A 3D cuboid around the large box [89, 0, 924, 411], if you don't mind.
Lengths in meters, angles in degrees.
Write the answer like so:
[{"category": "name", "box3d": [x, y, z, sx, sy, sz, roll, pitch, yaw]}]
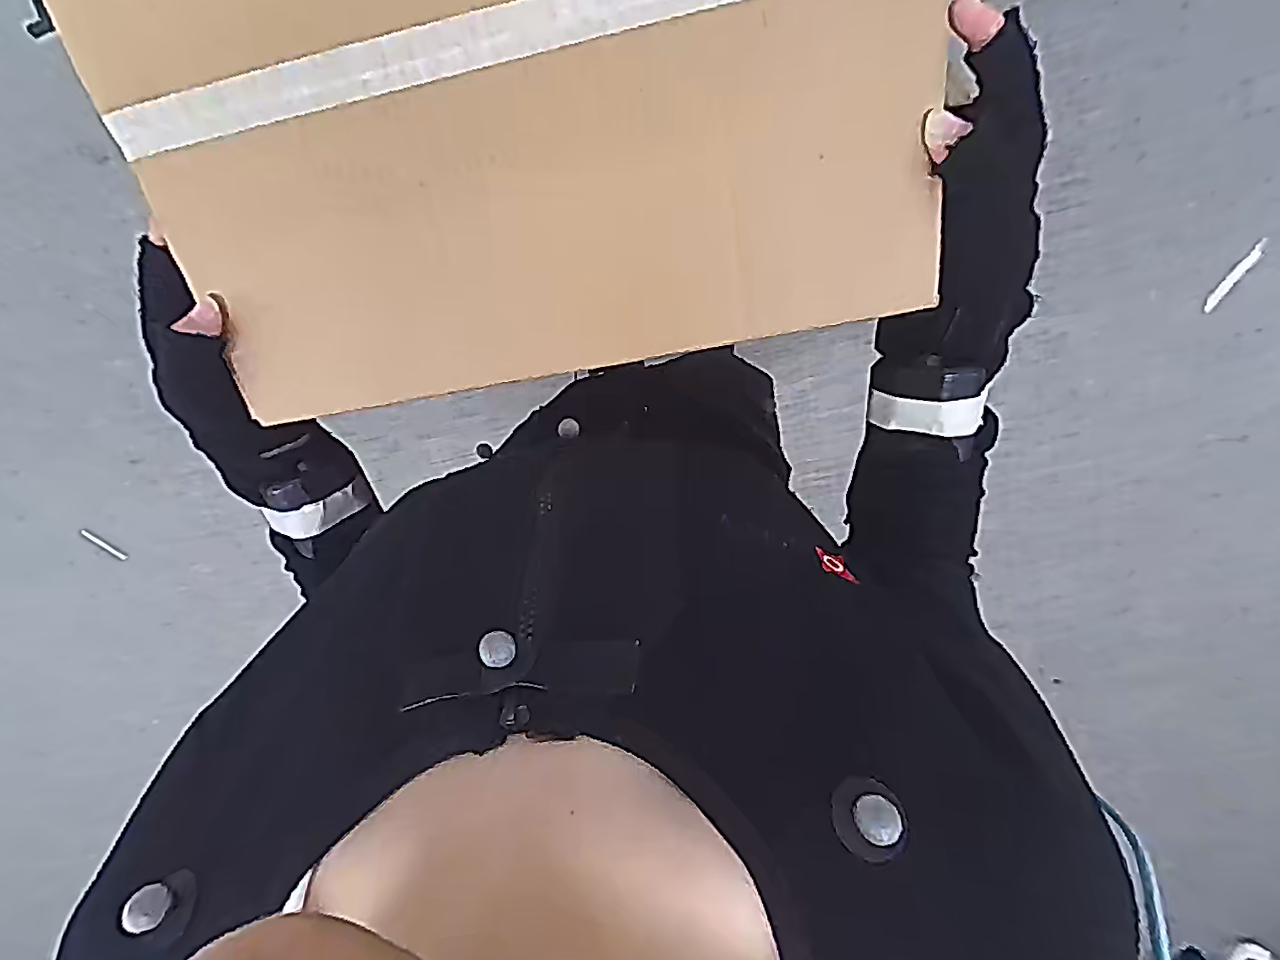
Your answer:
[{"category": "large box", "box3d": [-0.061, -0.270, 0.402, 0.408, 0.320, 0.320, -9, 113, 7]}]
